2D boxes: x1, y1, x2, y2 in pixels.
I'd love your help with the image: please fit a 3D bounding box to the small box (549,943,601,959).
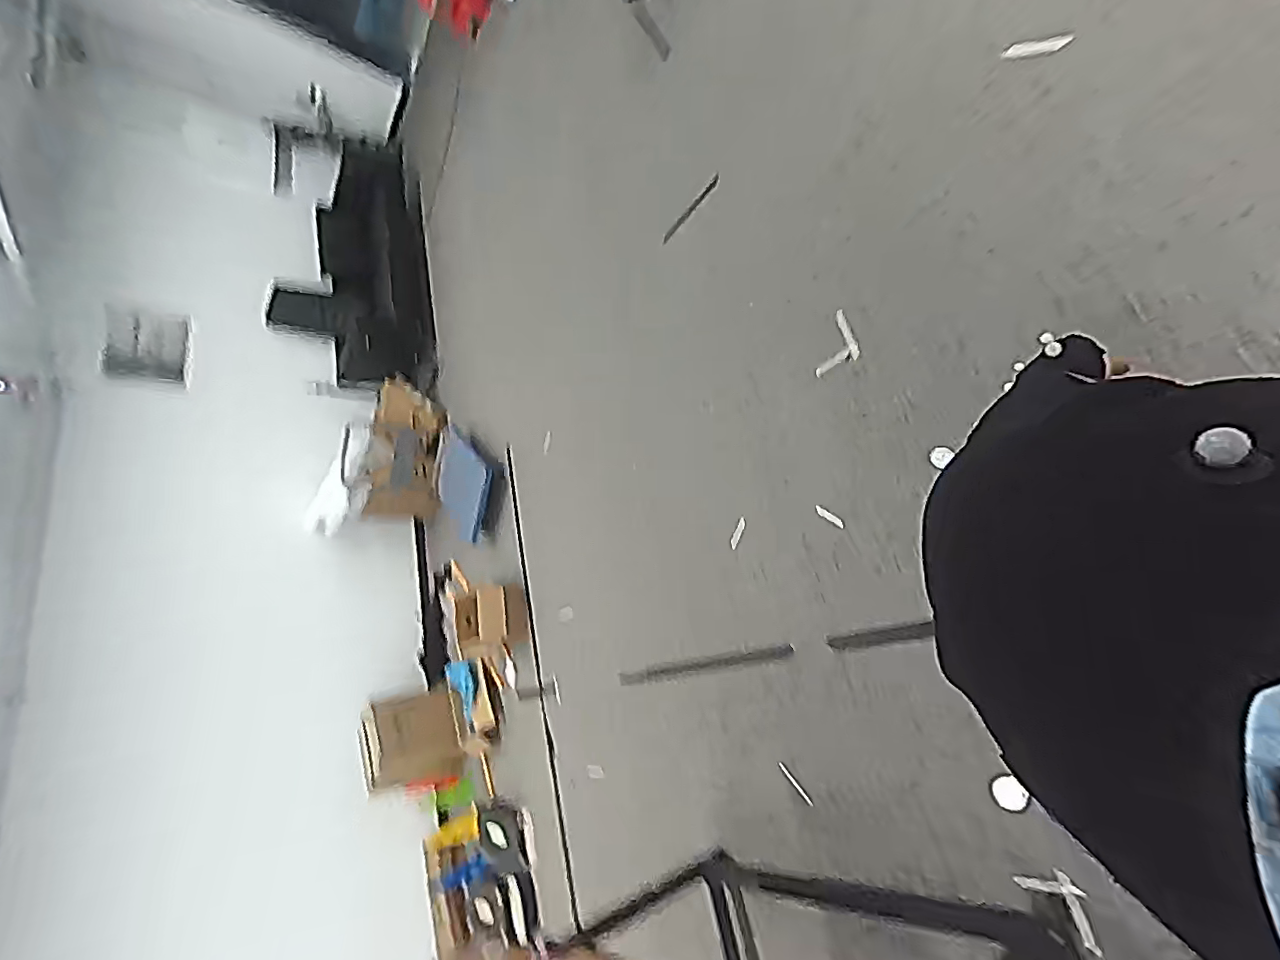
[{"bbox_3d":[-0.172,1.300,1.335,0.168,0.176,0.179,-32,64,47],"label":"small box"}]
